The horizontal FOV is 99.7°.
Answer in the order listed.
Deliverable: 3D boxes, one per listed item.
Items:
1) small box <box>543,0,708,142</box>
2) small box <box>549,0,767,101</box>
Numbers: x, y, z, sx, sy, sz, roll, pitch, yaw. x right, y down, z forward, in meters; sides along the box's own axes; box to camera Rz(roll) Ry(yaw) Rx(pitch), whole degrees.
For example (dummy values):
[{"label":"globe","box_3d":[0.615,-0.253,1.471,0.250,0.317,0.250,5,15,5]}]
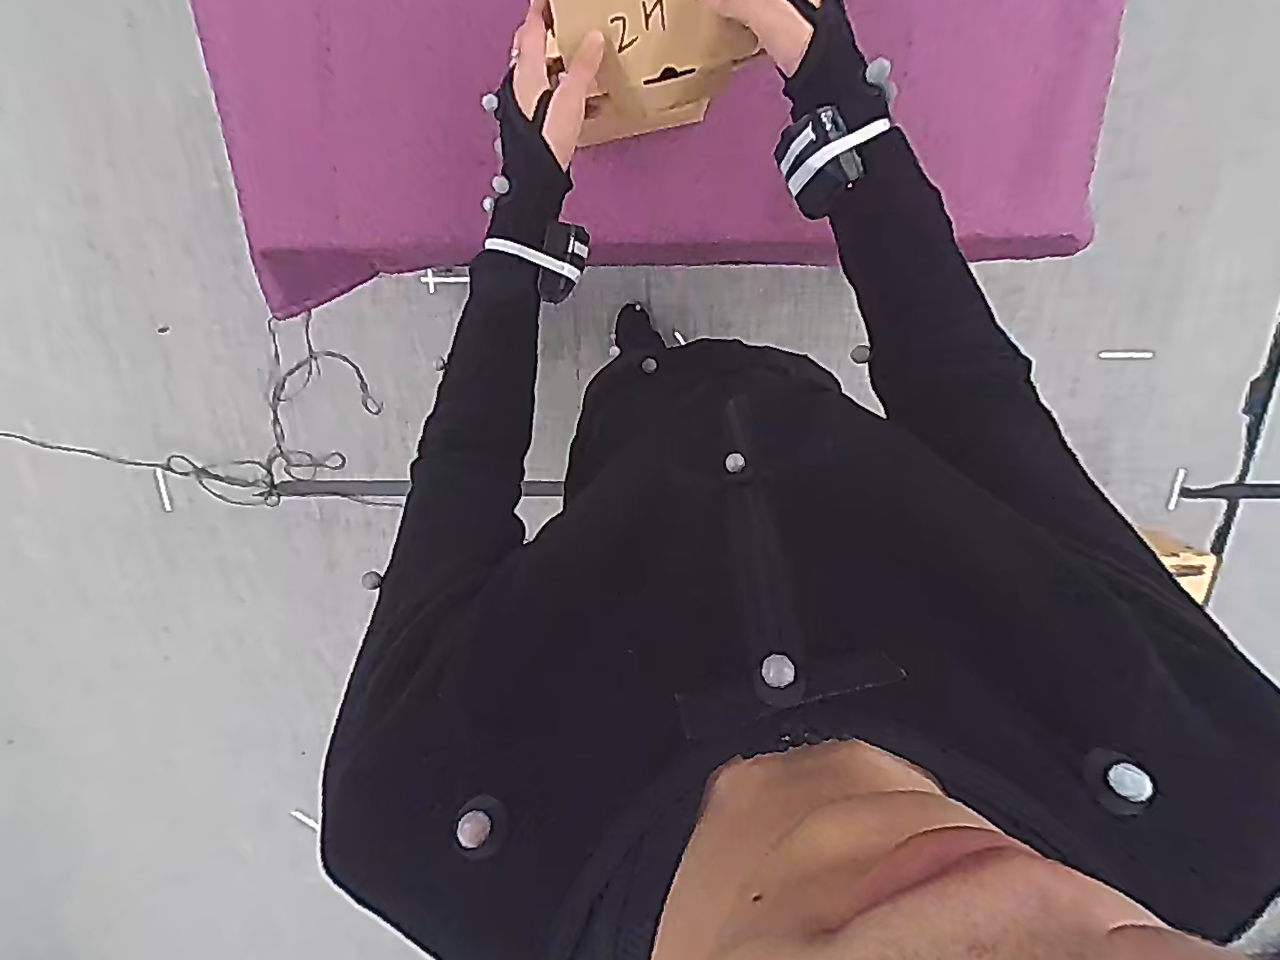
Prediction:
[{"label":"small box","box_3d":[-0.015,-0.529,0.640,0.179,0.176,0.168,-11,107,2]},{"label":"small box","box_3d":[0.002,-0.445,0.456,0.168,0.176,0.179,-11,123,6]}]
